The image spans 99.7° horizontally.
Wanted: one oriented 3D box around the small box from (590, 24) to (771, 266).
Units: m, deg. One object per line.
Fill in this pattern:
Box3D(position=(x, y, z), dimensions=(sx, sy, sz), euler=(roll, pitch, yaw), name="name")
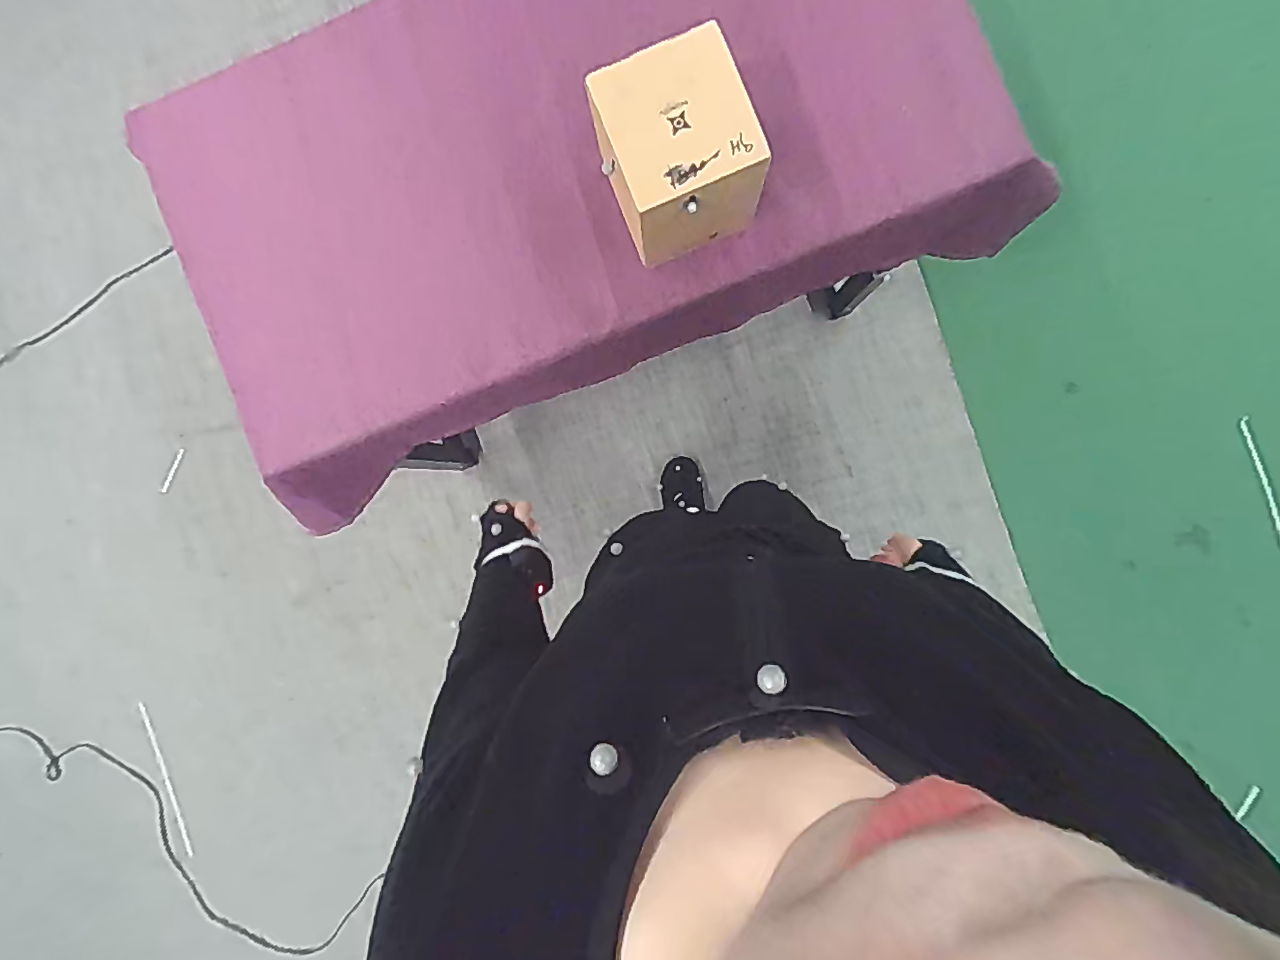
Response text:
Box3D(position=(0.050, -0.415, 0.701), dimensions=(0.168, 0.176, 0.179), euler=(-21, 88, 5), name="small box")
